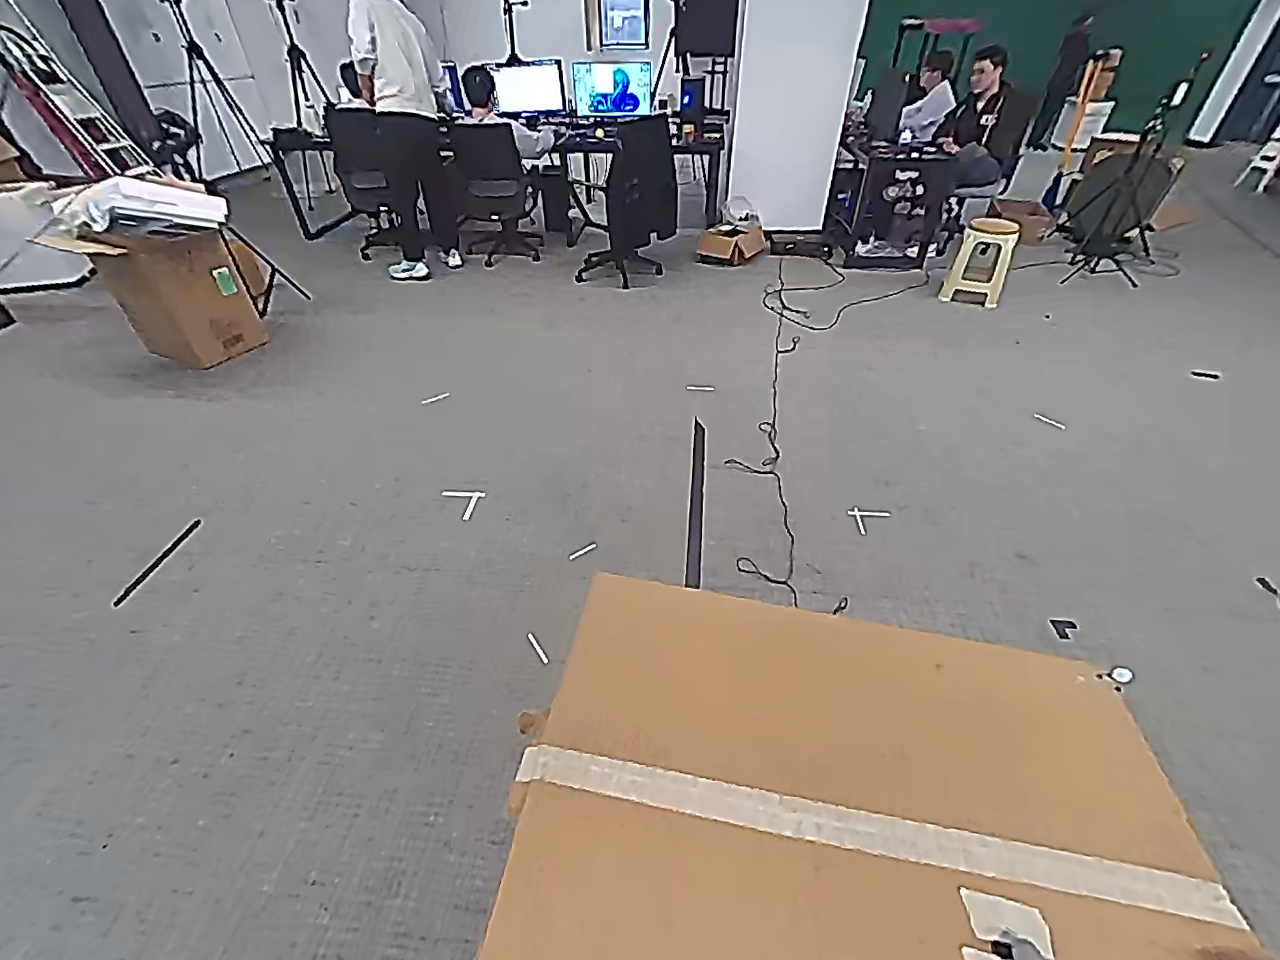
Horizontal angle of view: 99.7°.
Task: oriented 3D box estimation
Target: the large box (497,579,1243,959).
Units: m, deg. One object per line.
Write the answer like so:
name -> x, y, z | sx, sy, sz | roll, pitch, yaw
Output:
large box -> 0.122, 0.323, 0.426 | 0.408, 0.320, 0.320 | 10, 41, 4
